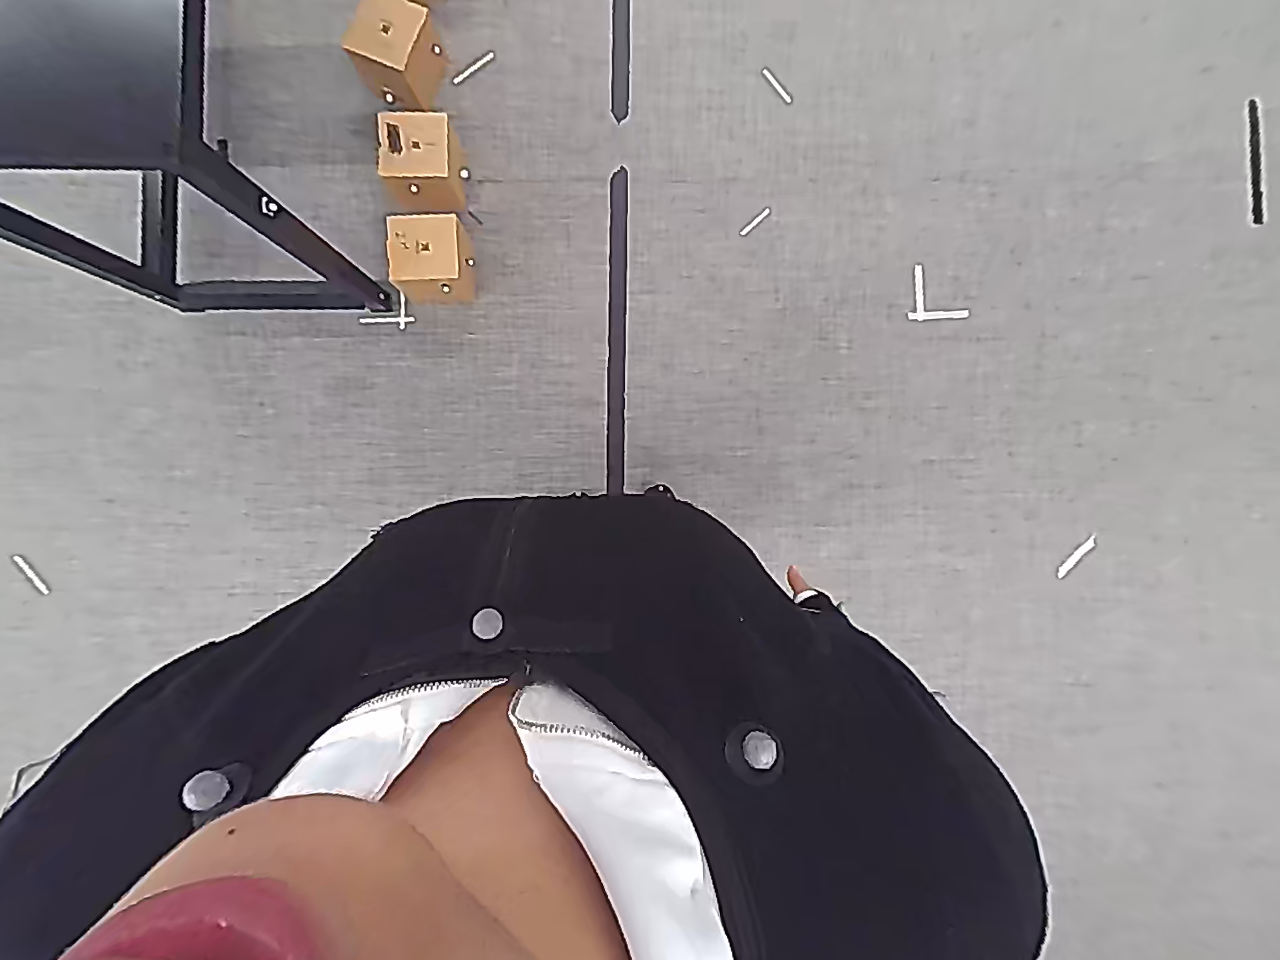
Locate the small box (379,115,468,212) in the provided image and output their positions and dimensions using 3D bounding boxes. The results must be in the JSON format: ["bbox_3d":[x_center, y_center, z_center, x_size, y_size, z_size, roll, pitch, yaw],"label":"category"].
[{"bbox_3d":[-0.571,-0.835,1.440,0.179,0.176,0.168,-1,89,-2],"label":"small box"}]

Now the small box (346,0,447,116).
[{"bbox_3d":[-0.638,-1.129,1.445,0.168,0.176,0.179,21,90,0],"label":"small box"}]
